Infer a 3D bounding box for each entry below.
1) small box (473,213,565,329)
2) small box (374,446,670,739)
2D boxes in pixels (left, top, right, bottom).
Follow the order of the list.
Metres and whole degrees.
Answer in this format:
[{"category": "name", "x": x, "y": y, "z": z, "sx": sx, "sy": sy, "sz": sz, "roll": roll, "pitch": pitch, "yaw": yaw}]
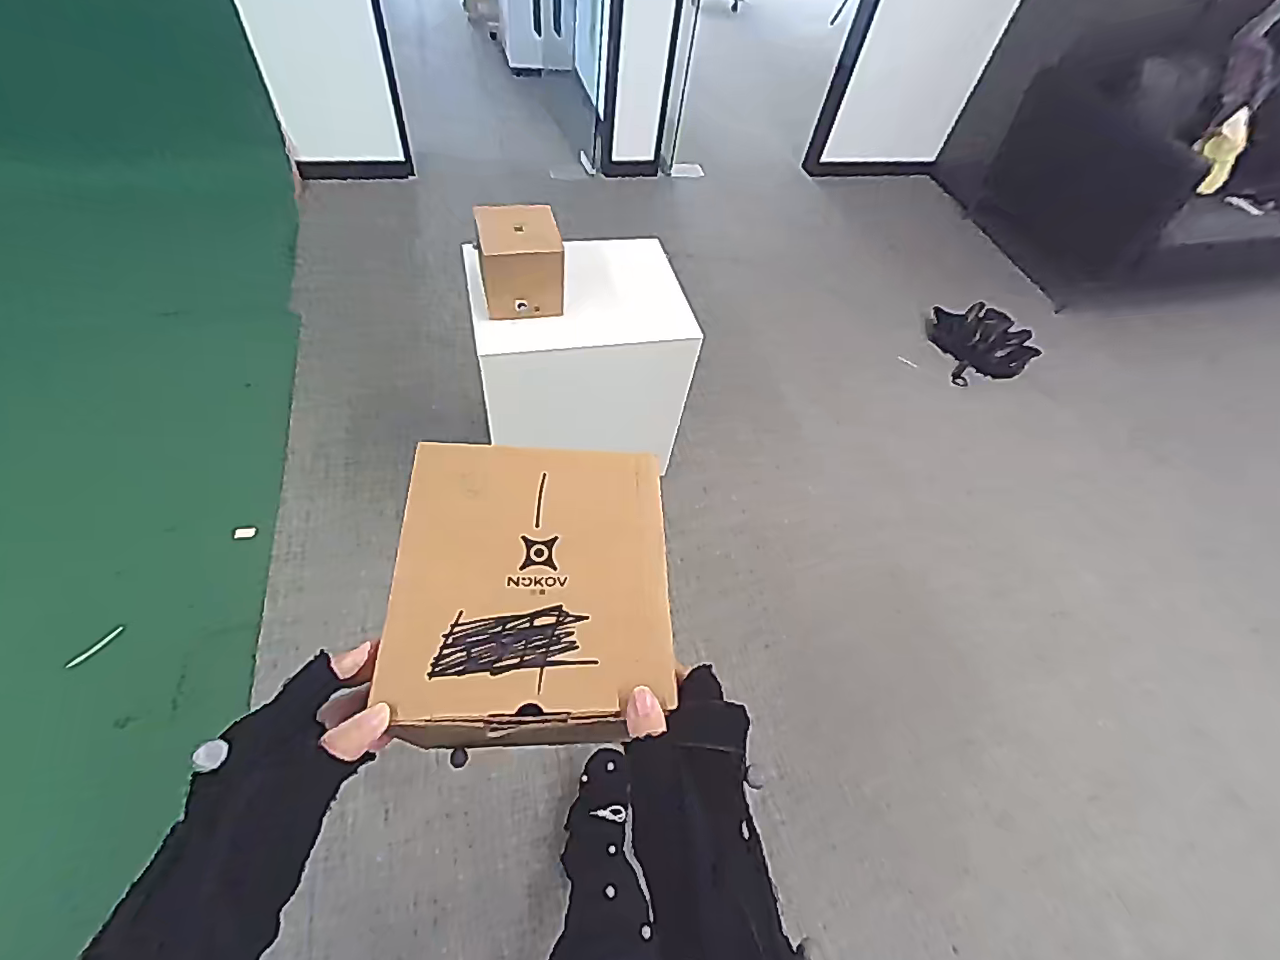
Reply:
[{"category": "small box", "x": -0.265, "y": -0.460, "z": 1.193, "sx": 0.168, "sy": 0.176, "sz": 0.179, "roll": -11, "pitch": 59, "yaw": -14}, {"category": "small box", "x": -0.076, "y": 0.094, "z": 0.407, "sx": 0.168, "sy": 0.176, "sz": 0.179, "roll": 2, "pitch": 59, "yaw": -9}]
